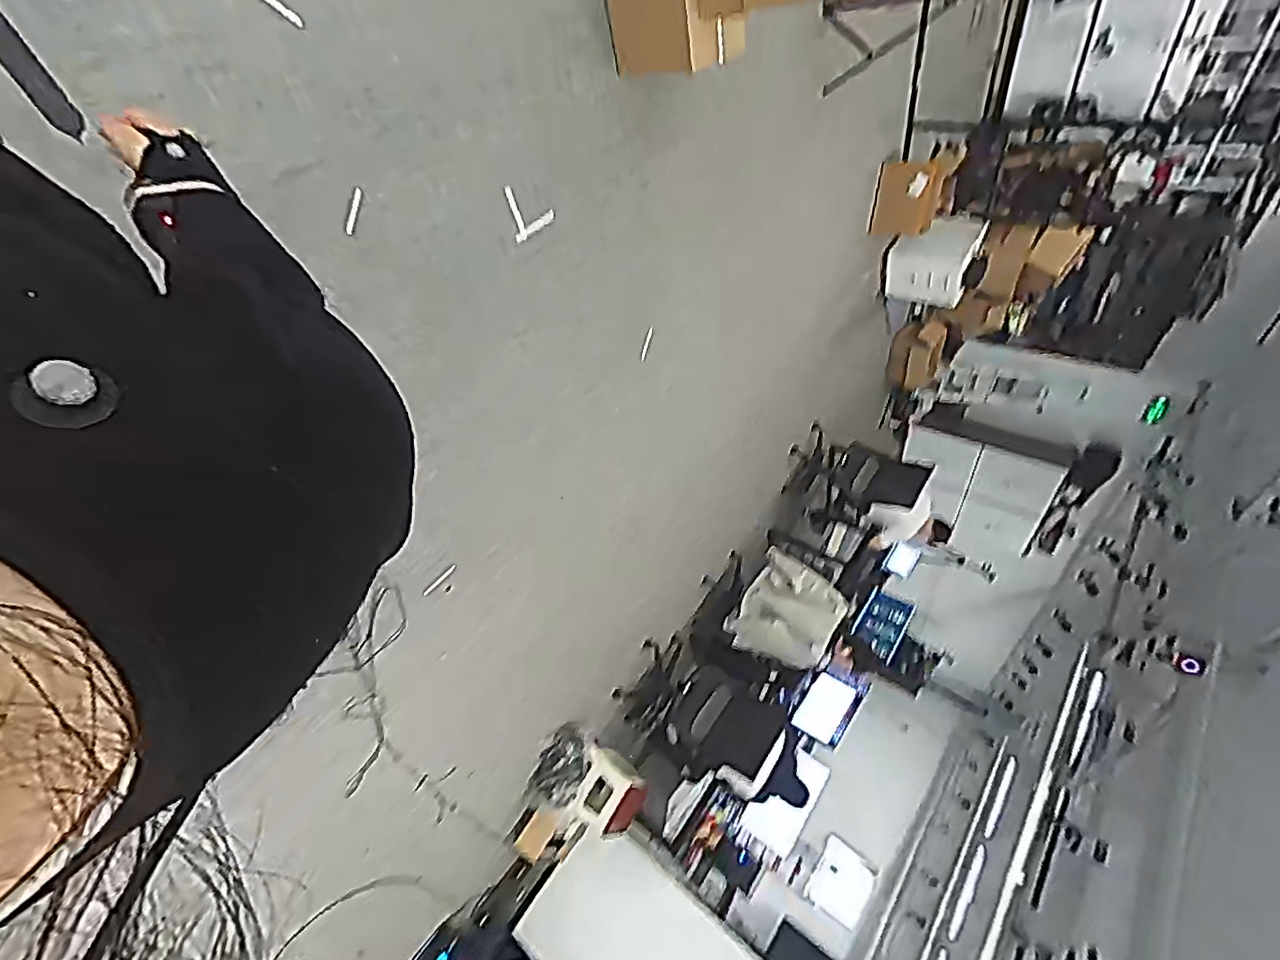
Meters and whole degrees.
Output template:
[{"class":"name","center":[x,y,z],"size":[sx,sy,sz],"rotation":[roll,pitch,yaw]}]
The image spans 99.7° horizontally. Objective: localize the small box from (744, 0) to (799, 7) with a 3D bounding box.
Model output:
[{"class":"small box","center":[0.387,-1.380,1.423],"size":[0.179,0.176,0.168],"rotation":[-45,142,-25]}]

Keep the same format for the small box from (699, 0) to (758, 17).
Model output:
[{"class":"small box","center":[0.271,-1.441,1.519],"size":[0.168,0.176,0.179],"rotation":[-46,143,-25]}]
